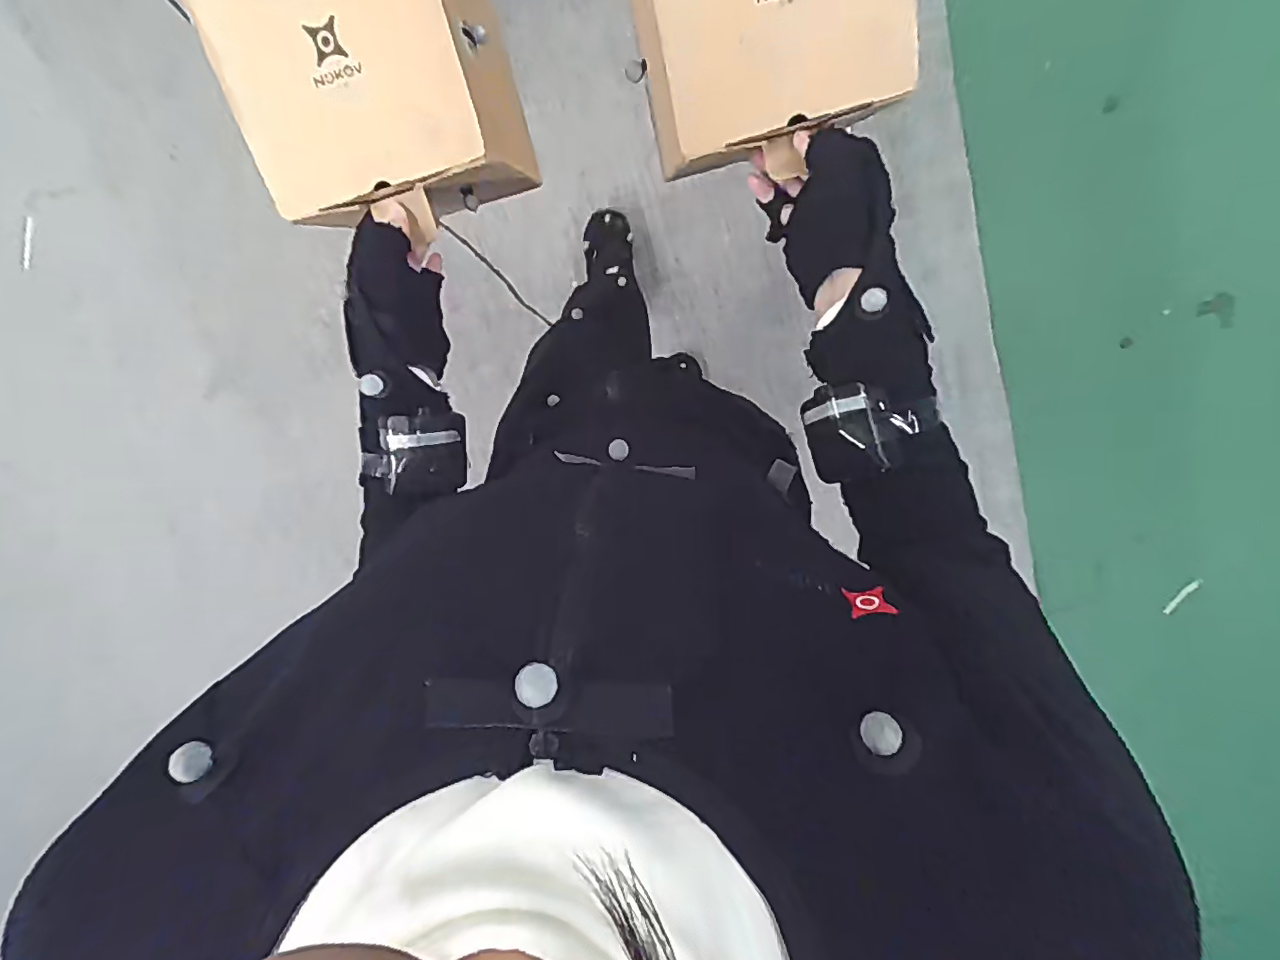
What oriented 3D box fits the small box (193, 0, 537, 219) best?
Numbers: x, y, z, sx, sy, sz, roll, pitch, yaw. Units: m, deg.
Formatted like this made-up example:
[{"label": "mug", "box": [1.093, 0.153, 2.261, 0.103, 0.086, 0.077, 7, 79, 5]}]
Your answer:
[{"label": "small box", "box": [-0.197, -0.321, 0.431, 0.168, 0.176, 0.179, -13, 110, 8]}]
